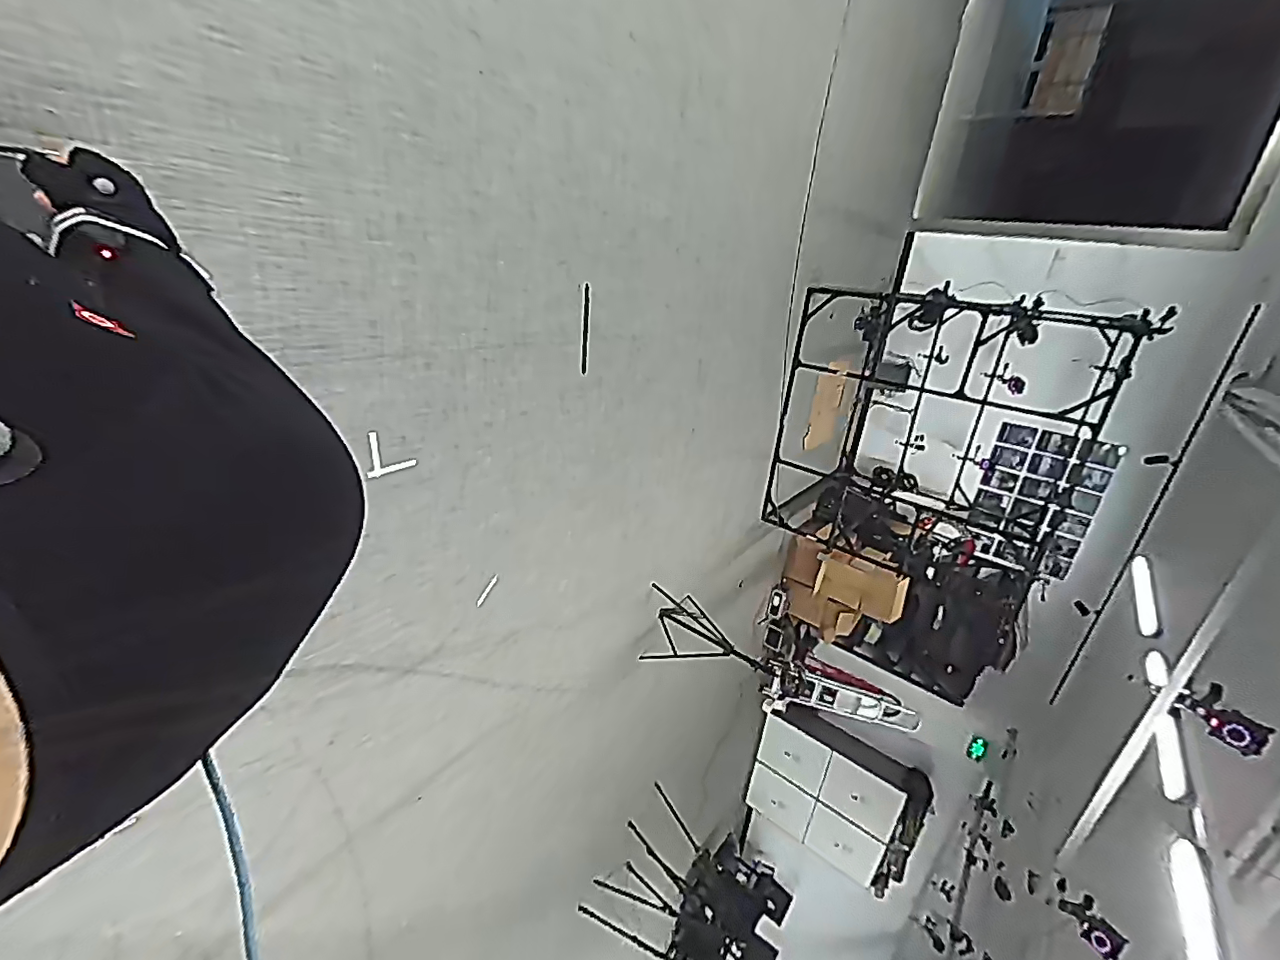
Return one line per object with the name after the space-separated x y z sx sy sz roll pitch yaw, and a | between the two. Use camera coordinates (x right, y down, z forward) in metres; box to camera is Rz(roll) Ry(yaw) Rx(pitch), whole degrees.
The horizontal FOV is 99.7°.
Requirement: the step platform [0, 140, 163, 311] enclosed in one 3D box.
-1.253 -0.434 0.899 0.684 0.204 0.286 -25 128 -48 | step platform
